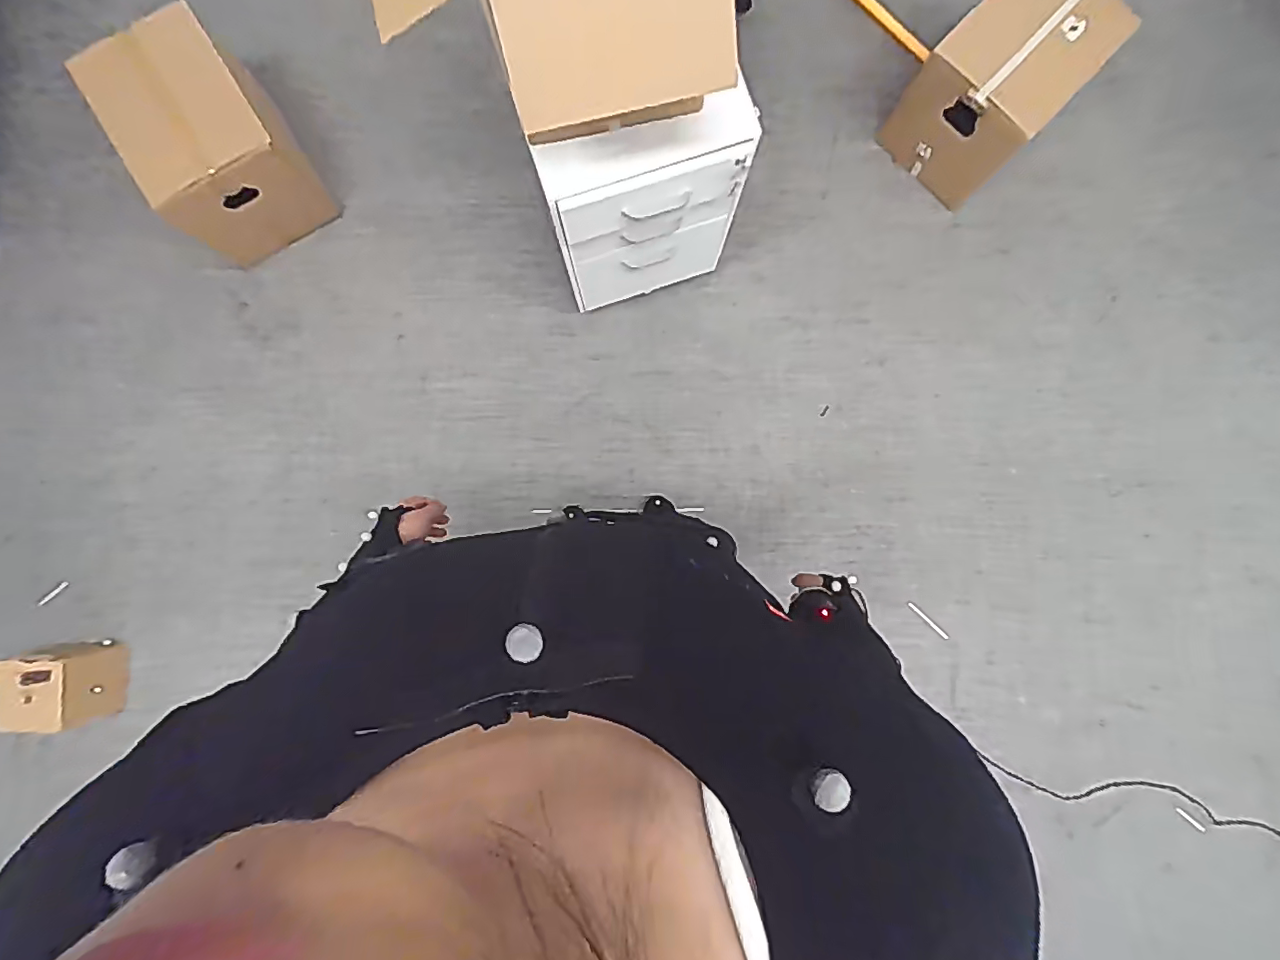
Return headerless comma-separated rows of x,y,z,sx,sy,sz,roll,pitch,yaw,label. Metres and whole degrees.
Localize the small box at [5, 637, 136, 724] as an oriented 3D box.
-1.469,0.514,1.406,0.168,0.176,0.179,1,88,0,small box
